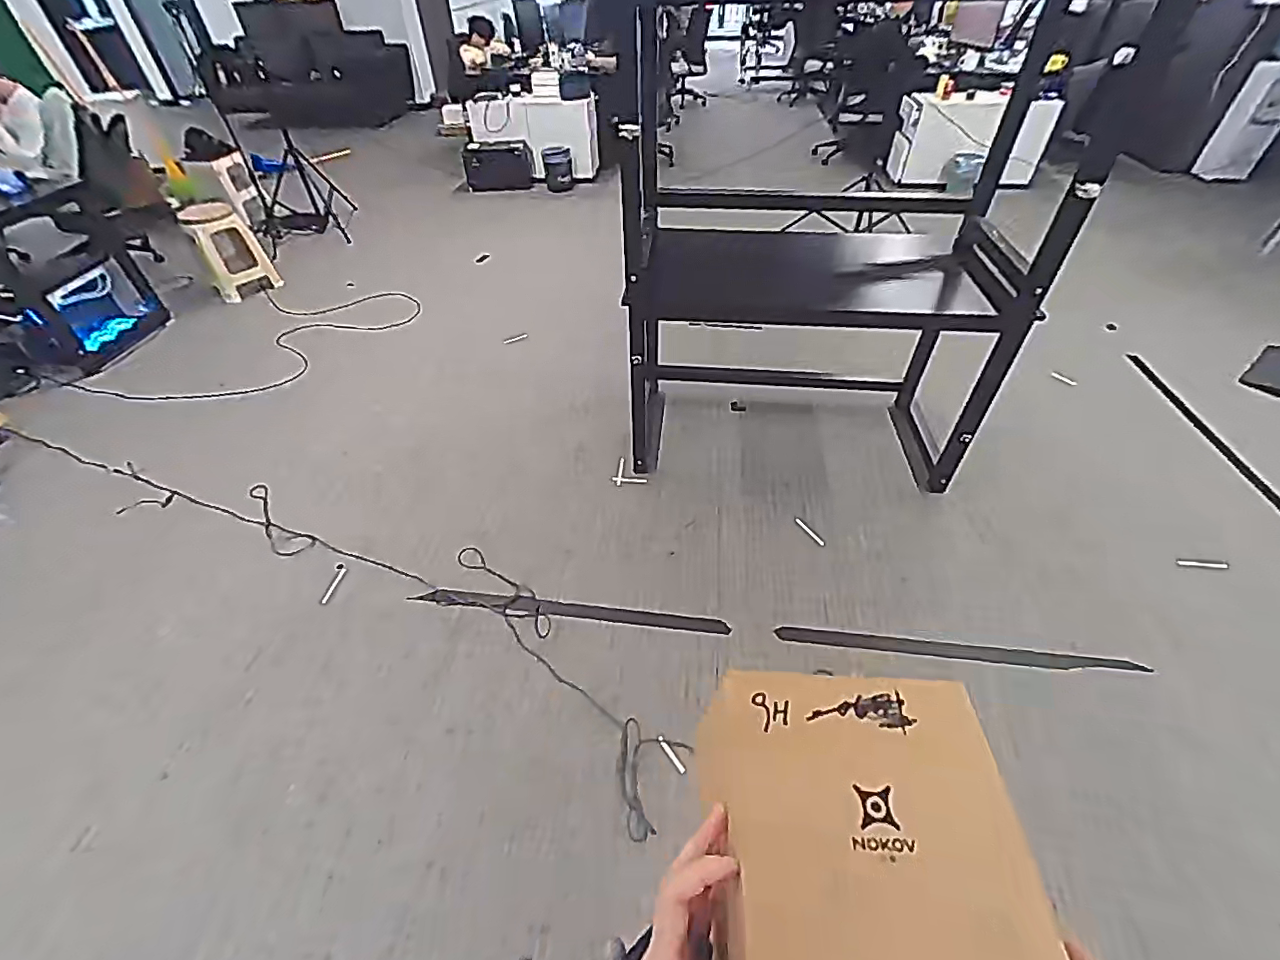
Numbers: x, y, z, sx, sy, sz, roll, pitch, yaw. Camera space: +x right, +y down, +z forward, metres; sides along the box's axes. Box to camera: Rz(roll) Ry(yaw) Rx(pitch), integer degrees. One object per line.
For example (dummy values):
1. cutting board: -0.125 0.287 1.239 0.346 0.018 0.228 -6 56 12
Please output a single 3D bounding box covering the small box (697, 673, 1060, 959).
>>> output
1. small box: 0.132 0.254 0.370 0.168 0.176 0.179 4 48 -1
